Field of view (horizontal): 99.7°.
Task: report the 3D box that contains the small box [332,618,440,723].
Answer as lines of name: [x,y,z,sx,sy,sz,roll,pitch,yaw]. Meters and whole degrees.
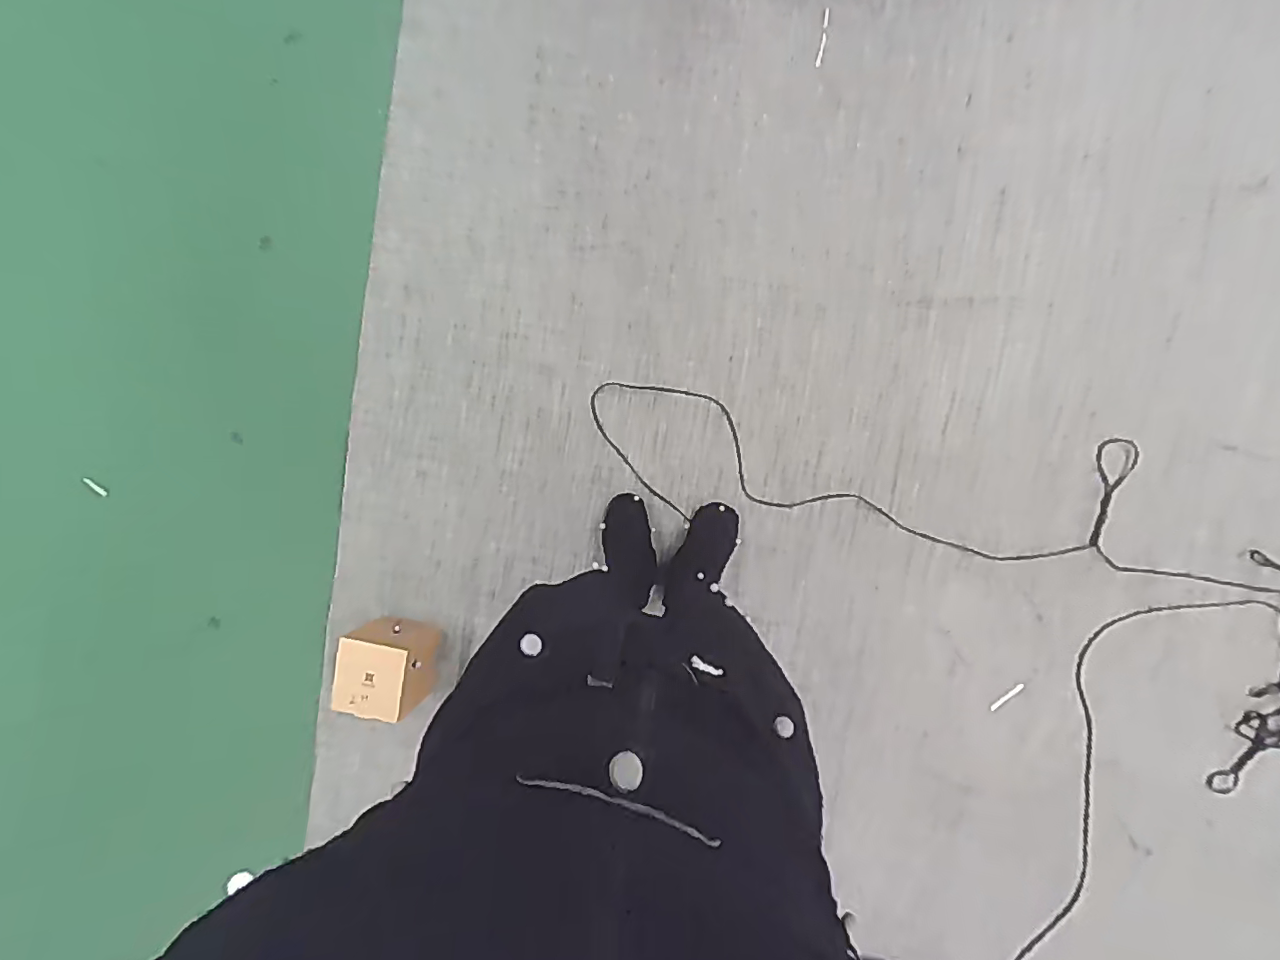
small box: [-0.601,0.447,1.301,0.168,0.176,0.179,10,93,6]
